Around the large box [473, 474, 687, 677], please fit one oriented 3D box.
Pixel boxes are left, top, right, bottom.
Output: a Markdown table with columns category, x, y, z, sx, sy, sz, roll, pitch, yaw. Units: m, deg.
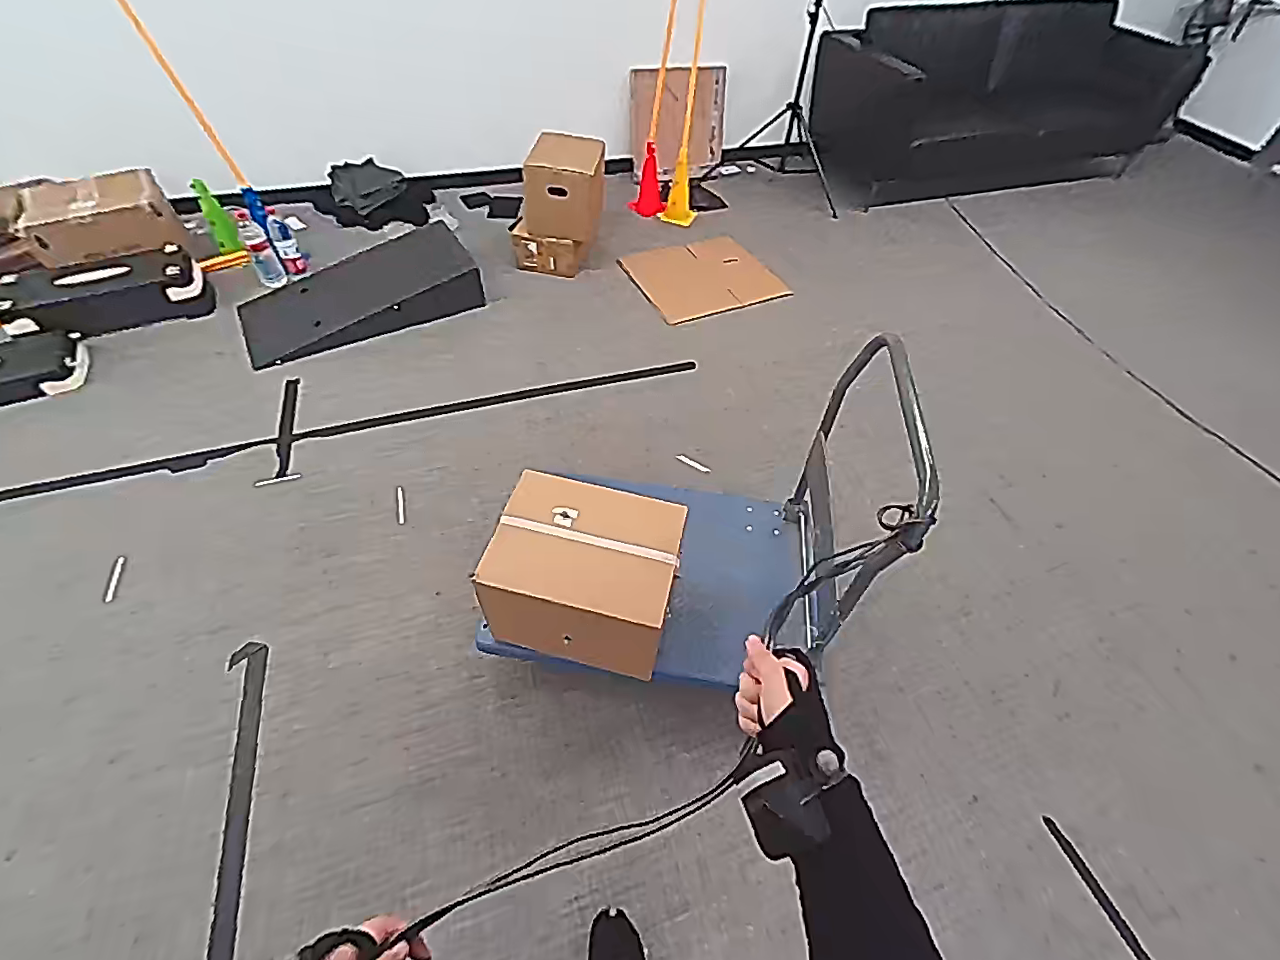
| category | x | y | z | sx | sy | sz | roll | pitch | yaw |
| --- | --- | --- | --- | --- | --- | --- | --- | --- | --- |
| large box | -0.121 | 0.232 | 1.290 | 0.408 | 0.320 | 0.320 | 13 | 51 | 7 |
